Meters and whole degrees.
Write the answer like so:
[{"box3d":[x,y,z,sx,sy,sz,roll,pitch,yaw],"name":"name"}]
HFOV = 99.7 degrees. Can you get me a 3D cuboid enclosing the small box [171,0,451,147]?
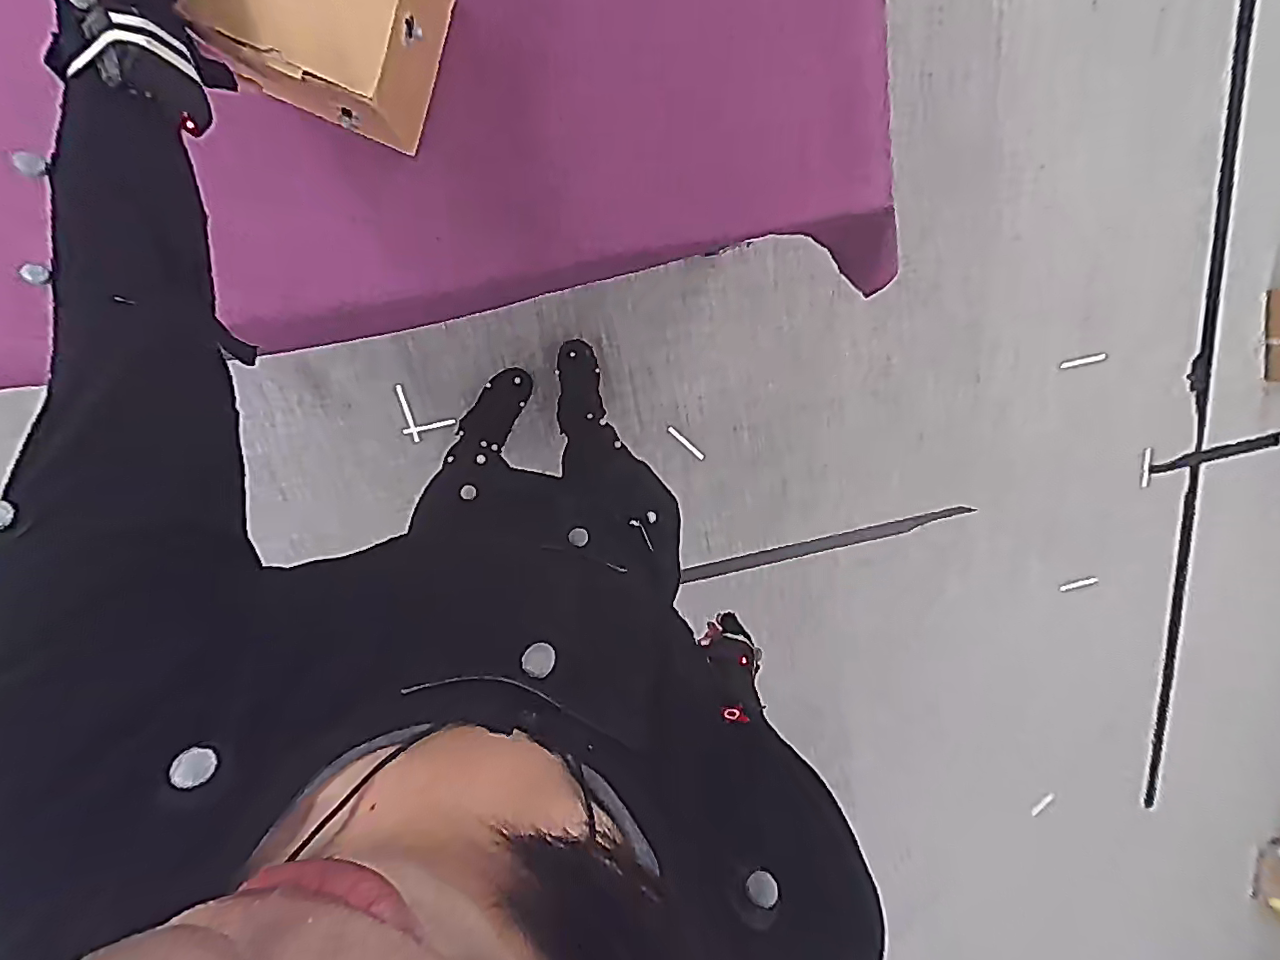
[{"box3d":[-0.295,-0.462,0.522,0.168,0.176,0.179,17,102,-14],"name":"small box"}]
